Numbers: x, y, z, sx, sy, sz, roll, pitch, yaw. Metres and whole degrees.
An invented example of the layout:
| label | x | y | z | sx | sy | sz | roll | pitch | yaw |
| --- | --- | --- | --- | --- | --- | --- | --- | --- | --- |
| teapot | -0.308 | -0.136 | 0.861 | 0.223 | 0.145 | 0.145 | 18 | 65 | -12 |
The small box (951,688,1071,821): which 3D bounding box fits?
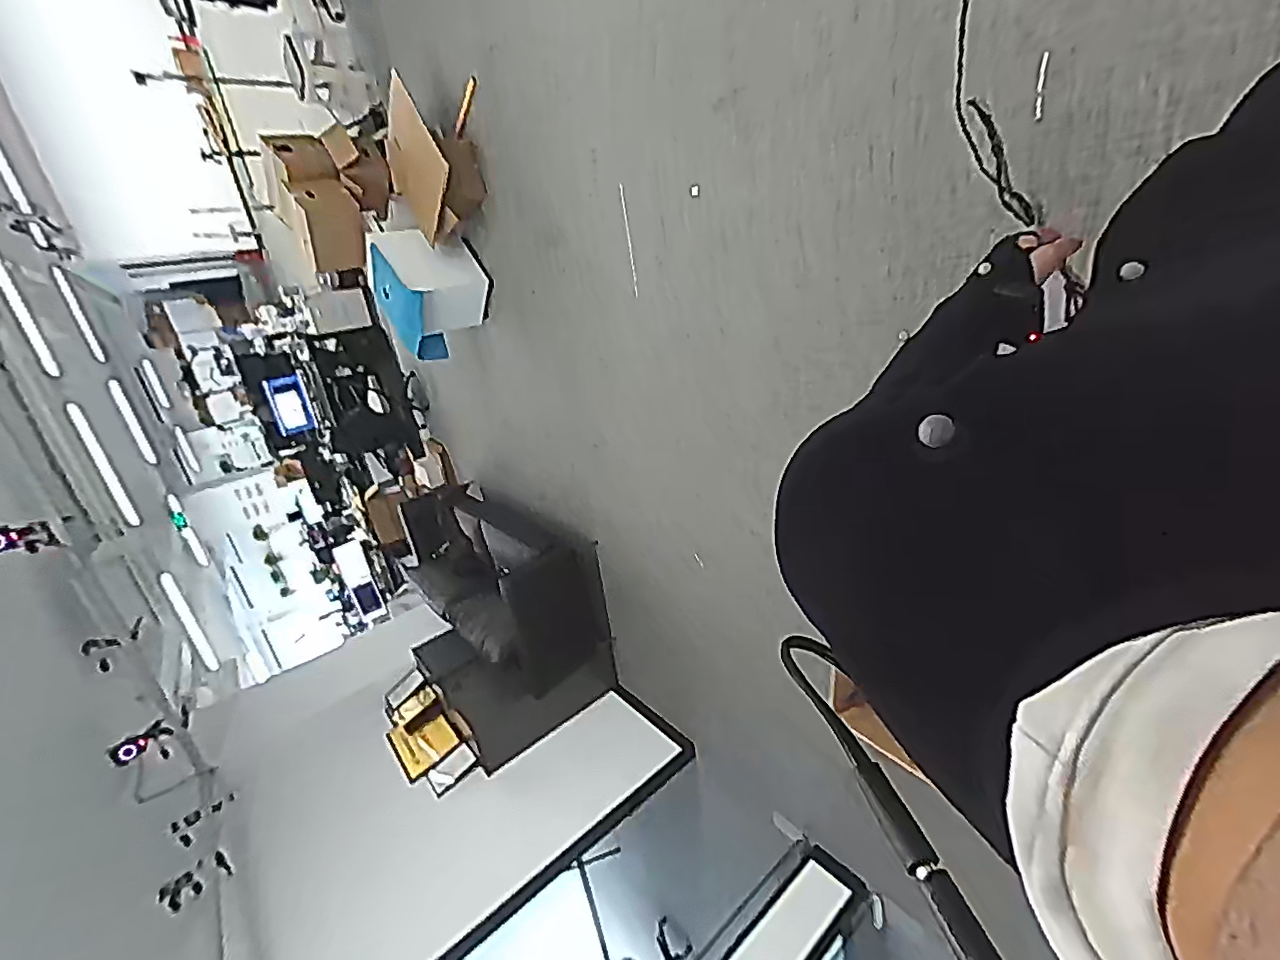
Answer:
| label | x | y | z | sx | sy | sz | roll | pitch | yaw |
| --- | --- | --- | --- | --- | --- | --- | --- | --- | --- |
| small box | 0.858 | 0.627 | 1.252 | 0.168 | 0.176 | 0.179 | 26 | 130 | 43 |
